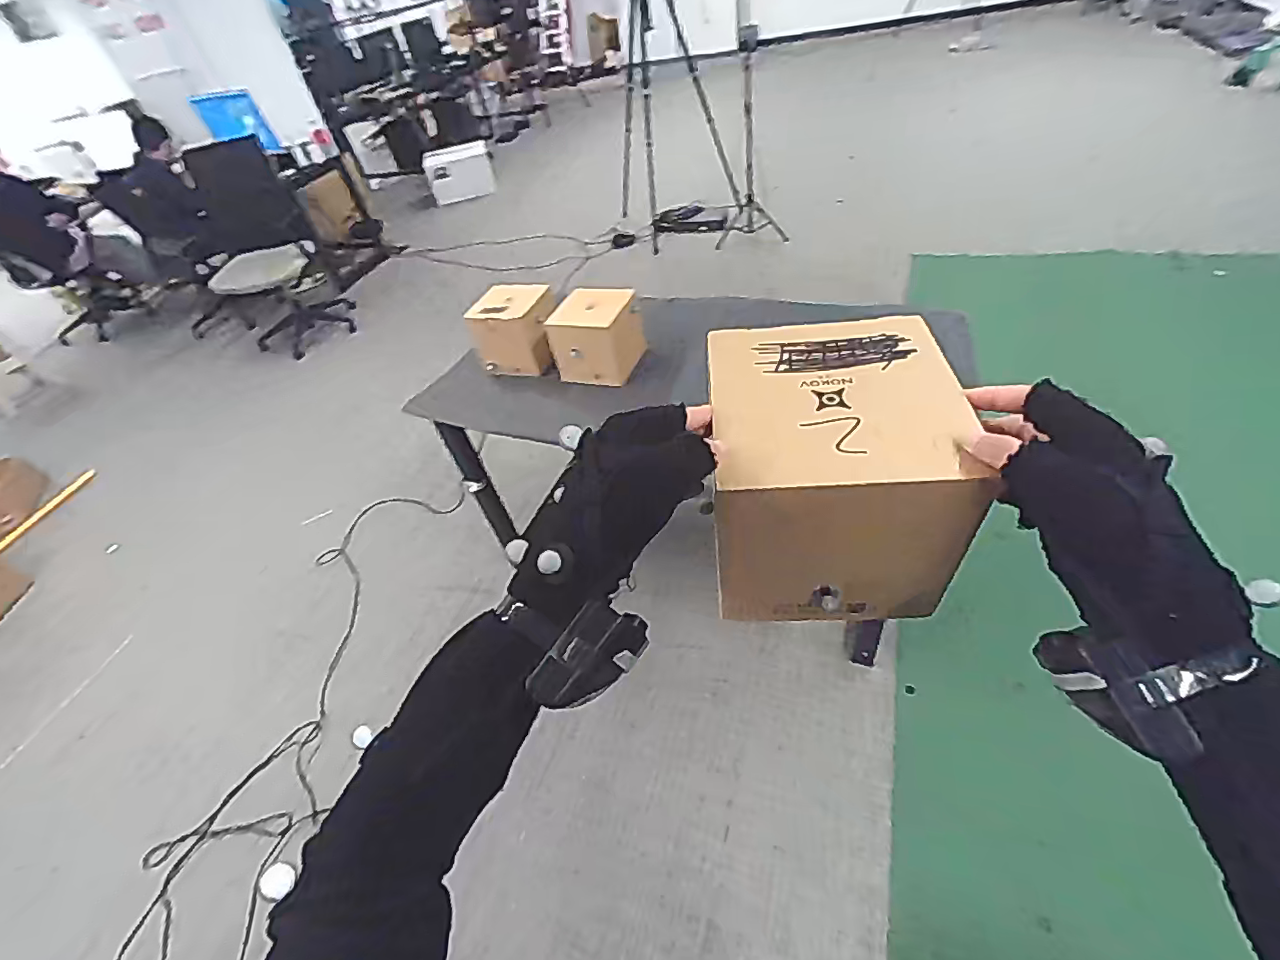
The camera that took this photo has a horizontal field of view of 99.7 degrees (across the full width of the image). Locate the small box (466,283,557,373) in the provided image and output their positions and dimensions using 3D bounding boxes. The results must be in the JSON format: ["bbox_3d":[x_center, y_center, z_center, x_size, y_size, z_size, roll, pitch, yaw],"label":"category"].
[{"bbox_3d":[-0.313,-0.393,1.407,0.168,0.176,0.179,7,47,18],"label":"small box"}]

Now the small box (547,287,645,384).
[{"bbox_3d":[-0.097,-0.352,1.321,0.168,0.176,0.179,9,48,21],"label":"small box"}]
